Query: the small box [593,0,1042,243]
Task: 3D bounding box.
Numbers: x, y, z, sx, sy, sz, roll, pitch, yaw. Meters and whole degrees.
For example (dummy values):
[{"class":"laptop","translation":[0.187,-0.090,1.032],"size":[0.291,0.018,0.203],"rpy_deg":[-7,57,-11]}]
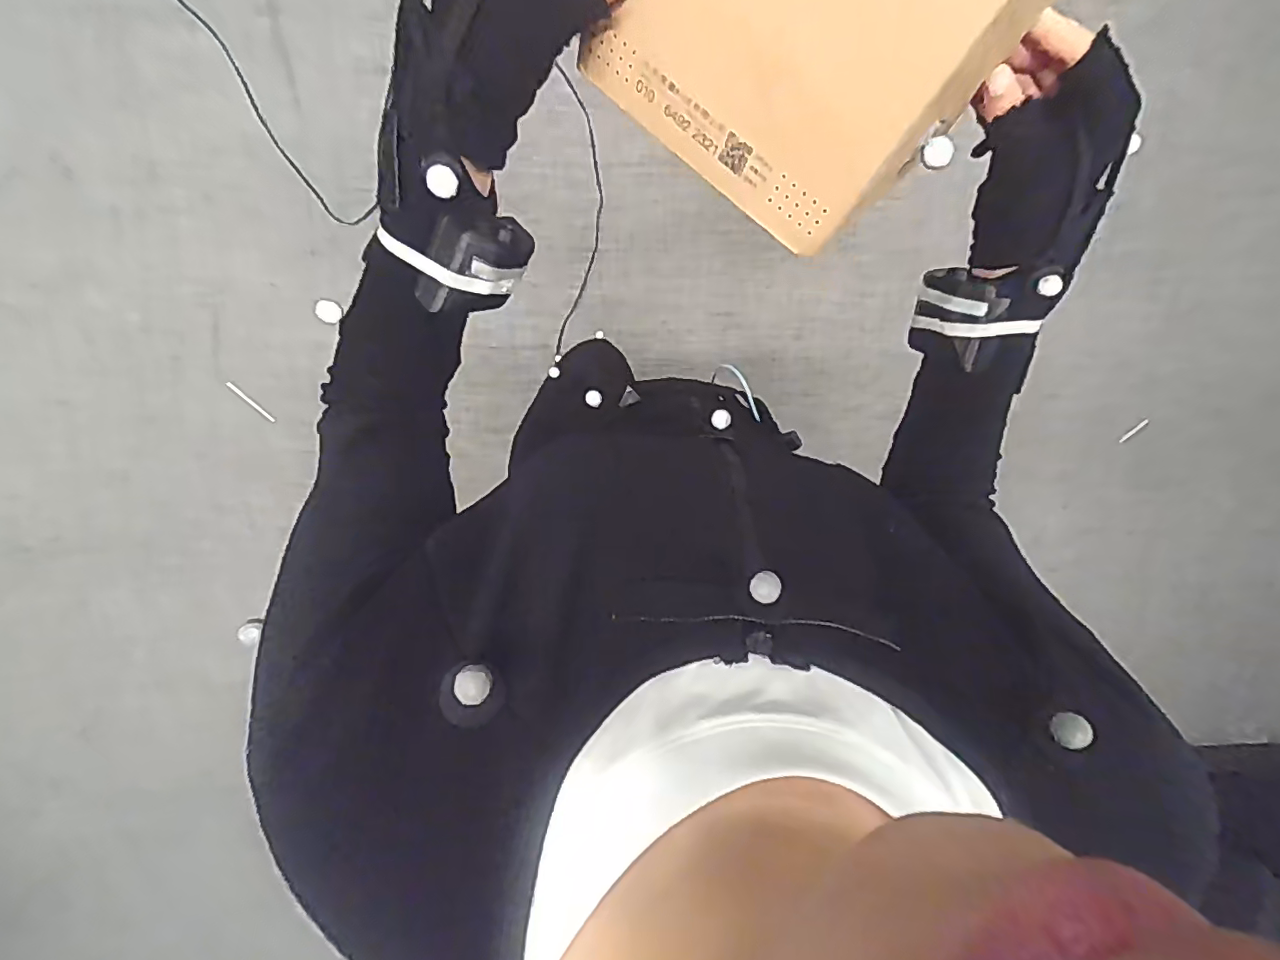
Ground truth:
[{"class":"small box","translation":[0.100,-0.256,0.261],"size":[0.168,0.176,0.179],"rpy_deg":[43,59,5]}]
